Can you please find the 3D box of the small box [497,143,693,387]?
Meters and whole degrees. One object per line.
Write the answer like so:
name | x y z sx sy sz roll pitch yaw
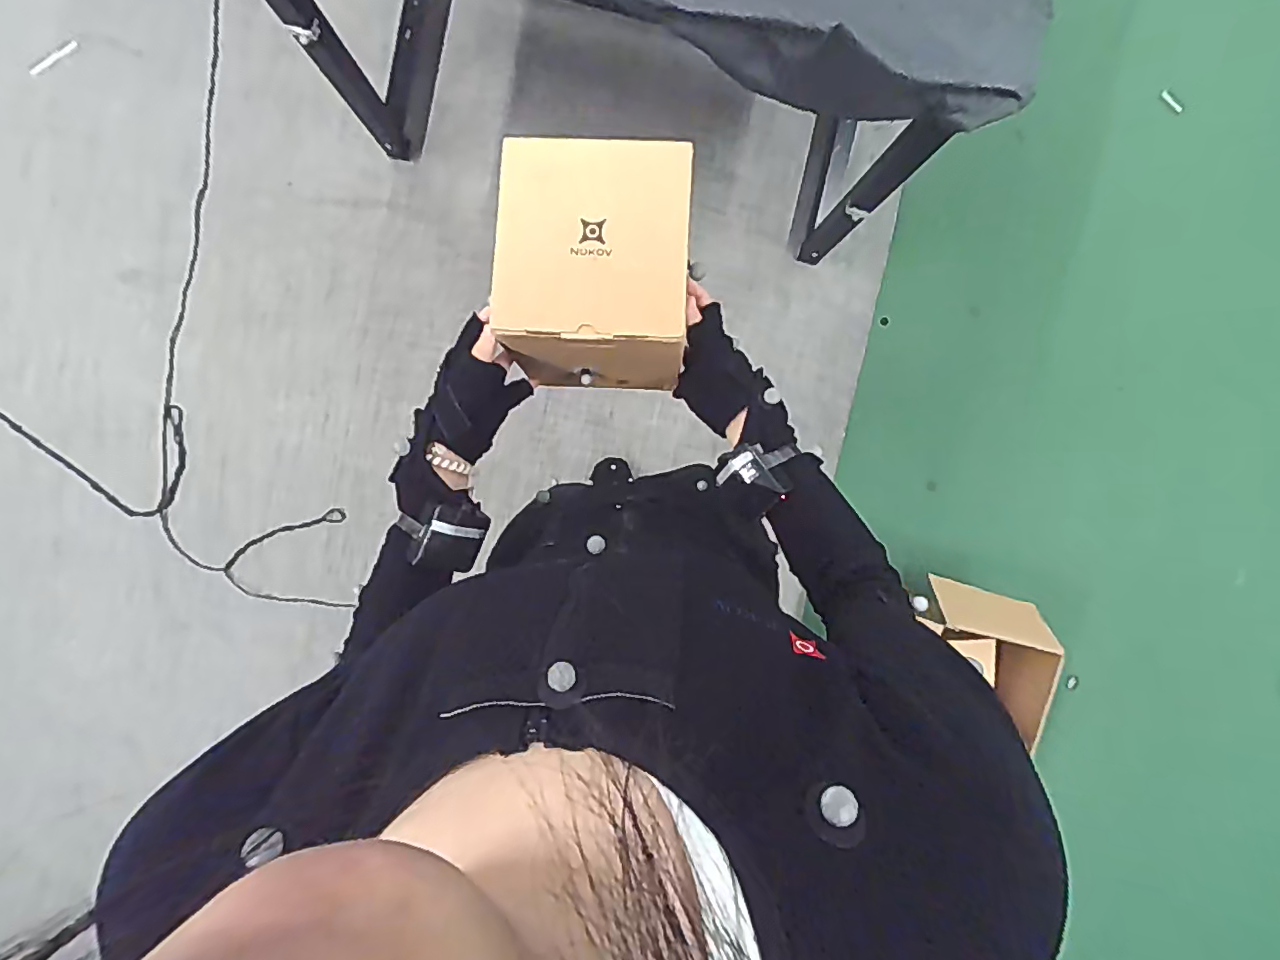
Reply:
small box | -0.038 -0.204 0.553 0.168 0.176 0.179 2 87 2
